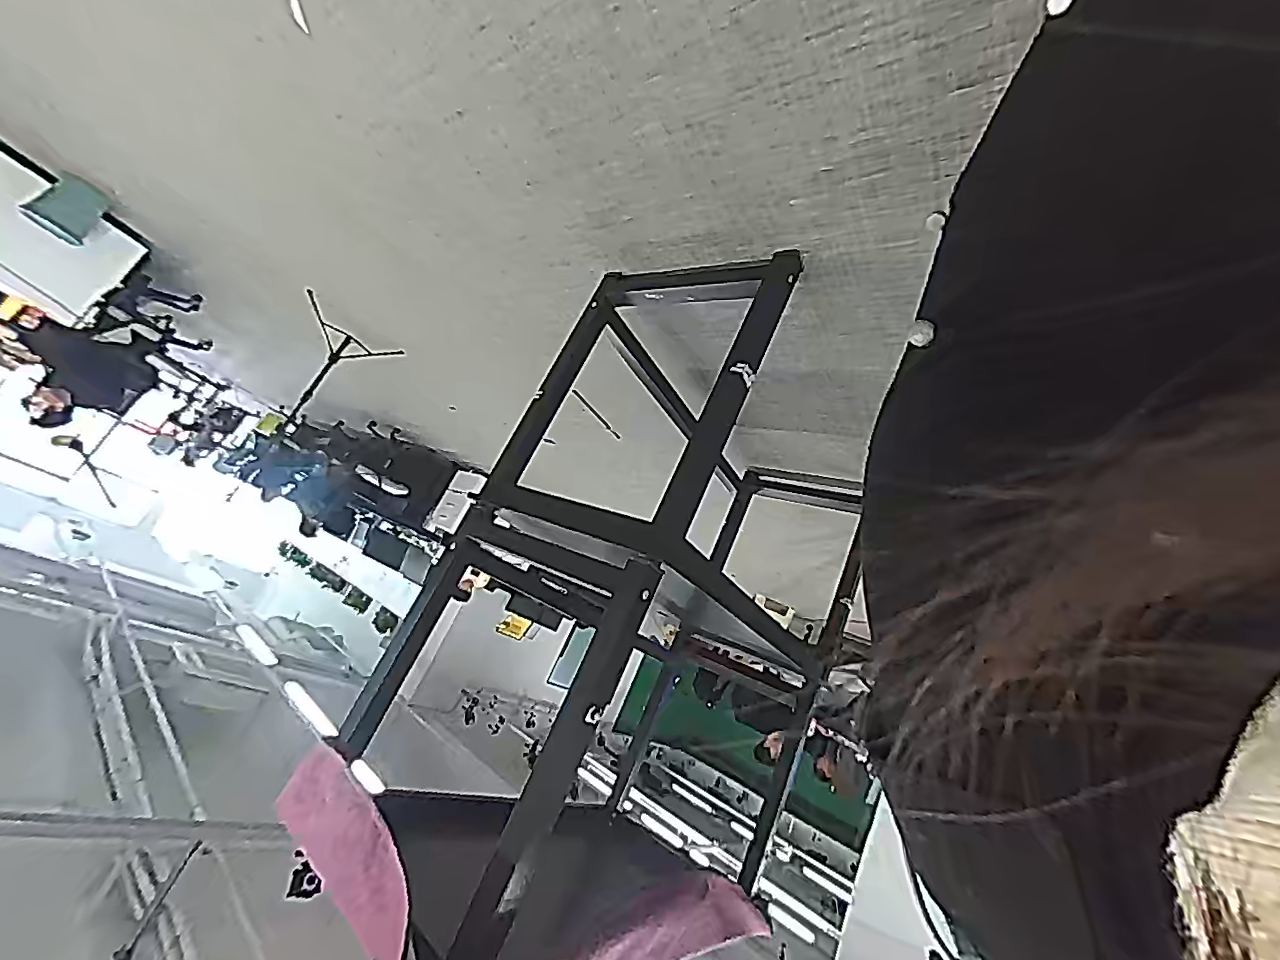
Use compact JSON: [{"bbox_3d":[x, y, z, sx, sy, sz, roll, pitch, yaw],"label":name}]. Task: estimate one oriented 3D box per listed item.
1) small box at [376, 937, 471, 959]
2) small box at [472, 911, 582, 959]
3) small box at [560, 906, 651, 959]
[{"bbox_3d":[-0.359,0.880,0.865,0.179,0.176,0.168,9,157,46],"label":"small box"},{"bbox_3d":[-0.237,1.001,1.066,0.179,0.176,0.168,10,157,43],"label":"small box"},{"bbox_3d":[-0.094,1.133,1.254,0.179,0.176,0.168,5,154,48],"label":"small box"}]
